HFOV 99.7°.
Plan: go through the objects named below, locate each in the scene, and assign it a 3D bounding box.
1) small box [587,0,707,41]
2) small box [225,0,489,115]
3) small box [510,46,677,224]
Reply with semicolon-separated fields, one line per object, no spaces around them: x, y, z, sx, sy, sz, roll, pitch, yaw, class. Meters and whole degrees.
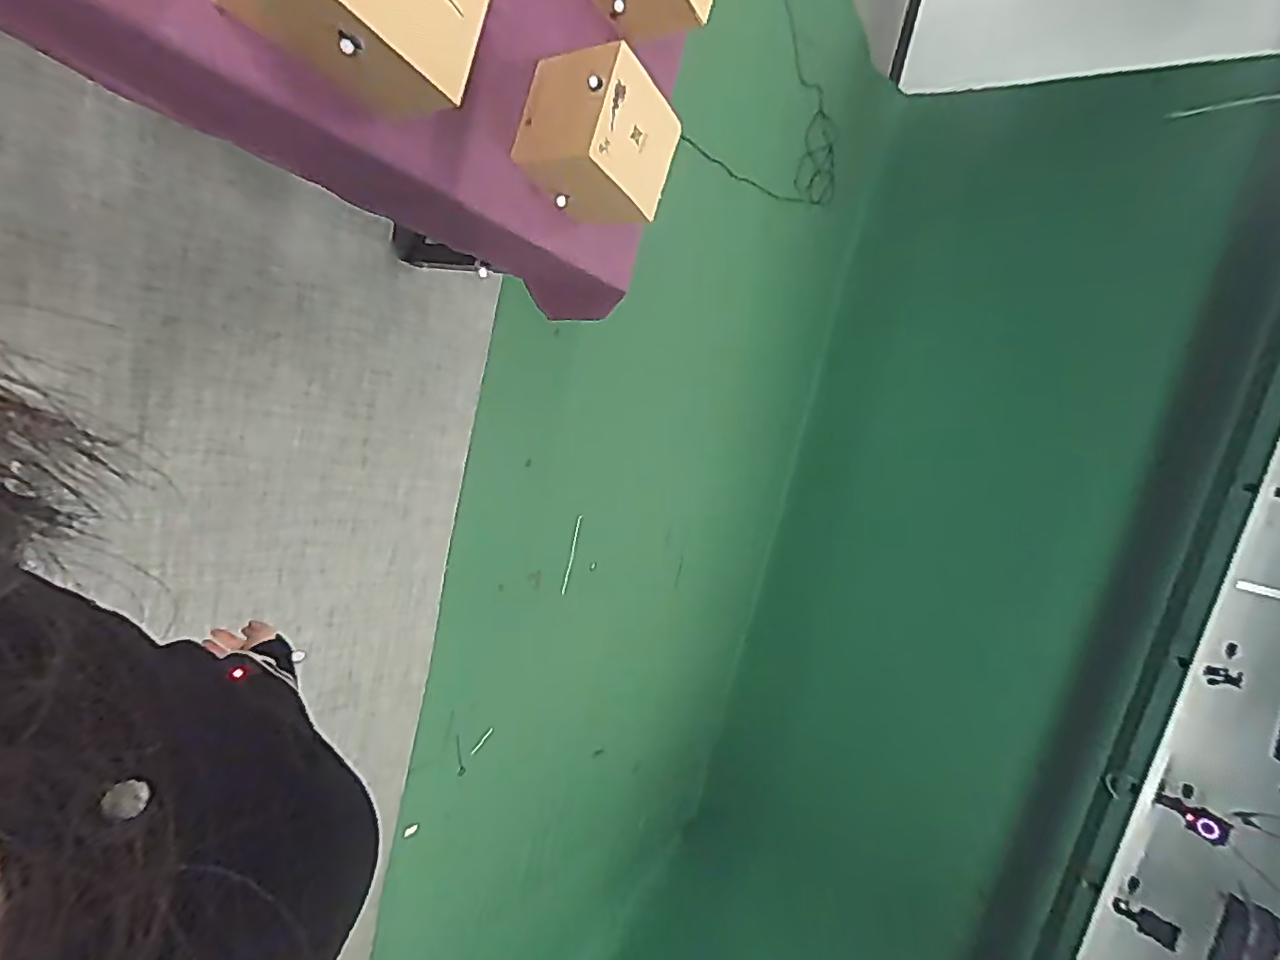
0.009;-0.835;0.836;0.168;0.176;0.179;10;97;-56;small box
-0.284;-0.511;0.555;0.179;0.176;0.168;14;93;-58;small box
-0.072;-0.533;0.859;0.179;0.176;0.168;16;91;-58;small box
